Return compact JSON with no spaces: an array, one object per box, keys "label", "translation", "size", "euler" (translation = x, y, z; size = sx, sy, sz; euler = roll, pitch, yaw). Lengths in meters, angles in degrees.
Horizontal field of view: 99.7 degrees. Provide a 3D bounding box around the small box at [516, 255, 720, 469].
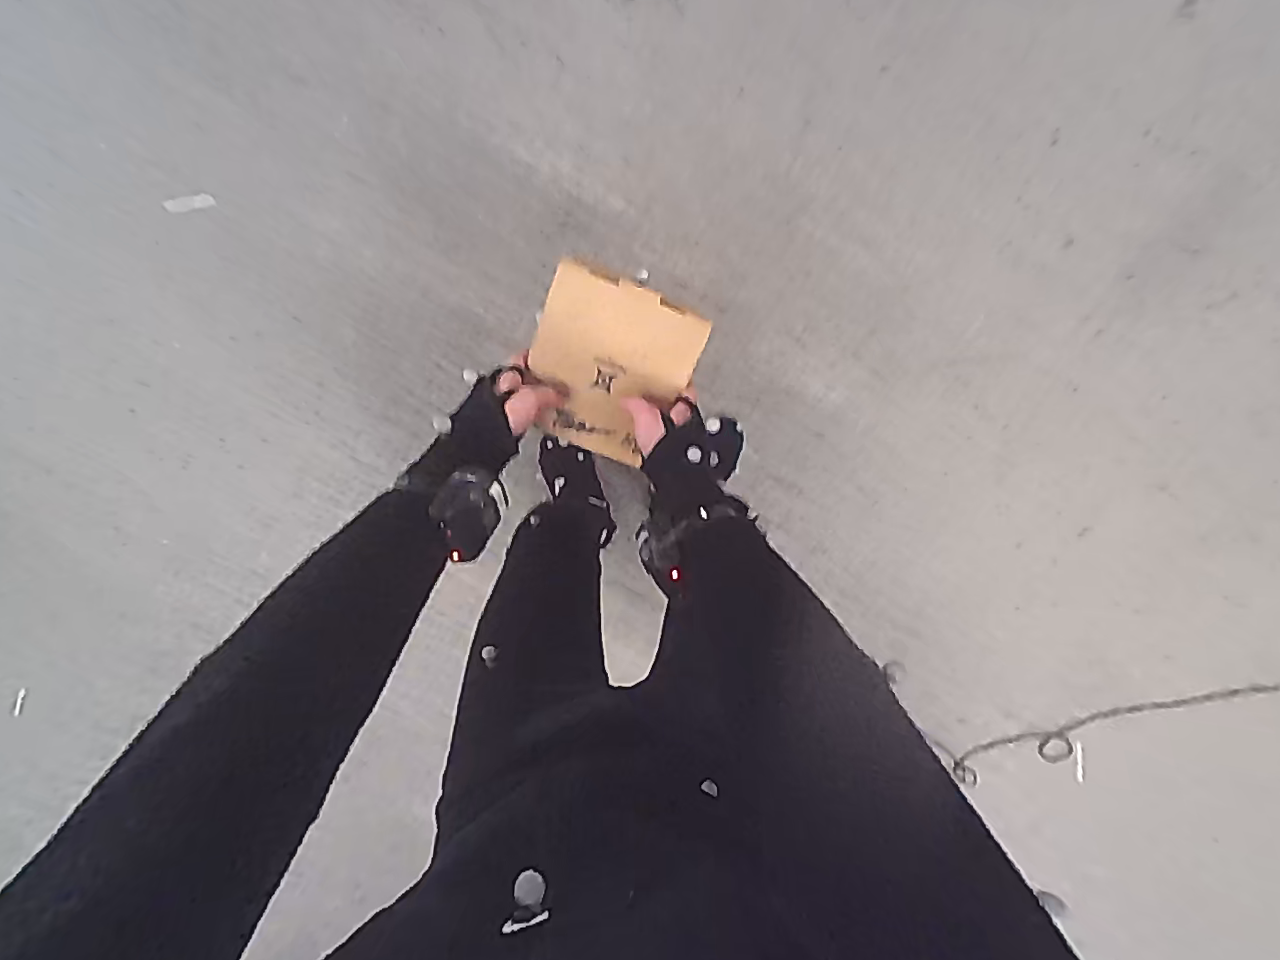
[{"label":"small box","translation":[-0.029,-0.143,0.635],"size":[0.168,0.176,0.179],"euler":[21,109,-9]}]
